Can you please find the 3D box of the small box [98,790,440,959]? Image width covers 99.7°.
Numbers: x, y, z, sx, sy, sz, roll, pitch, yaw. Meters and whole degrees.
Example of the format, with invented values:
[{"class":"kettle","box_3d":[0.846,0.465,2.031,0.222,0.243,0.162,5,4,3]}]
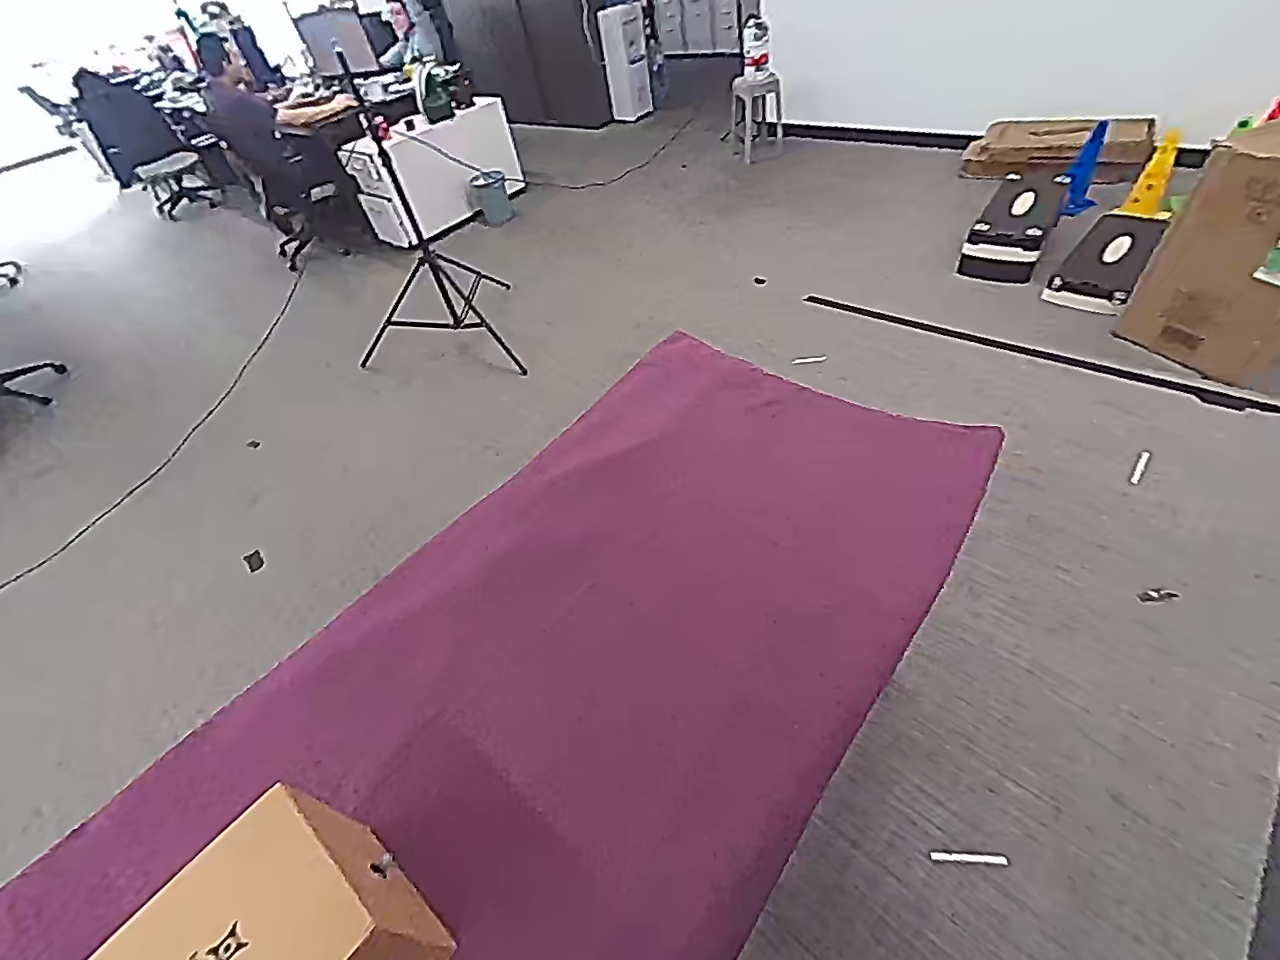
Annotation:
[{"class":"small box","box_3d":[-0.295,0.412,0.453,0.168,0.176,0.179,25,54,31]}]
